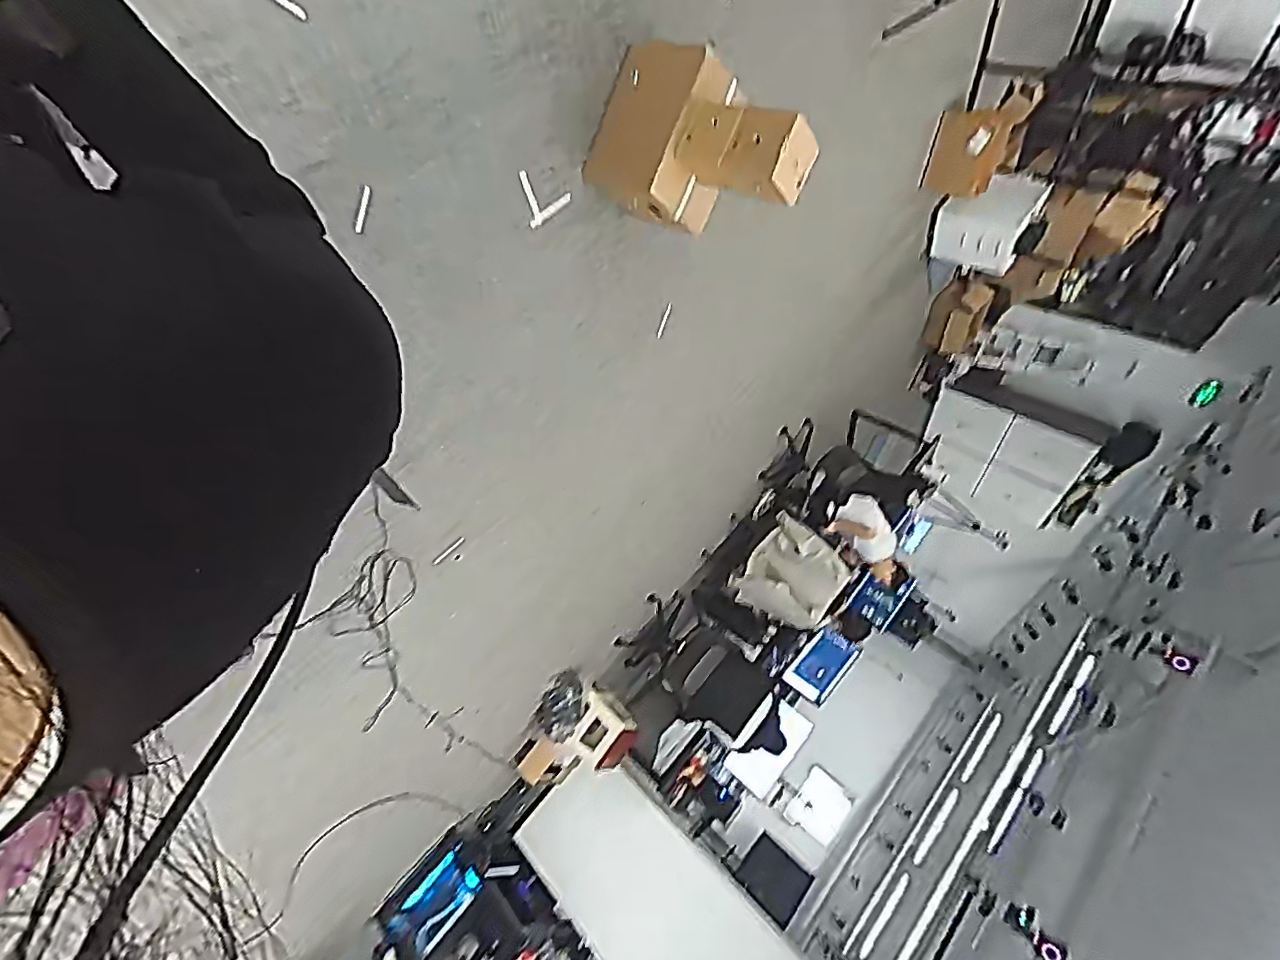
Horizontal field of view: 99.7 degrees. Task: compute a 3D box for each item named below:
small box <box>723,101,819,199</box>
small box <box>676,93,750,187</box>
[{"bbox_3d":[0.356,-0.906,1.482,0.179,0.176,0.168,4,115,-55],"label":"small box"},{"bbox_3d":[0.233,-0.982,1.561,0.179,0.176,0.168,3,116,-55],"label":"small box"}]
